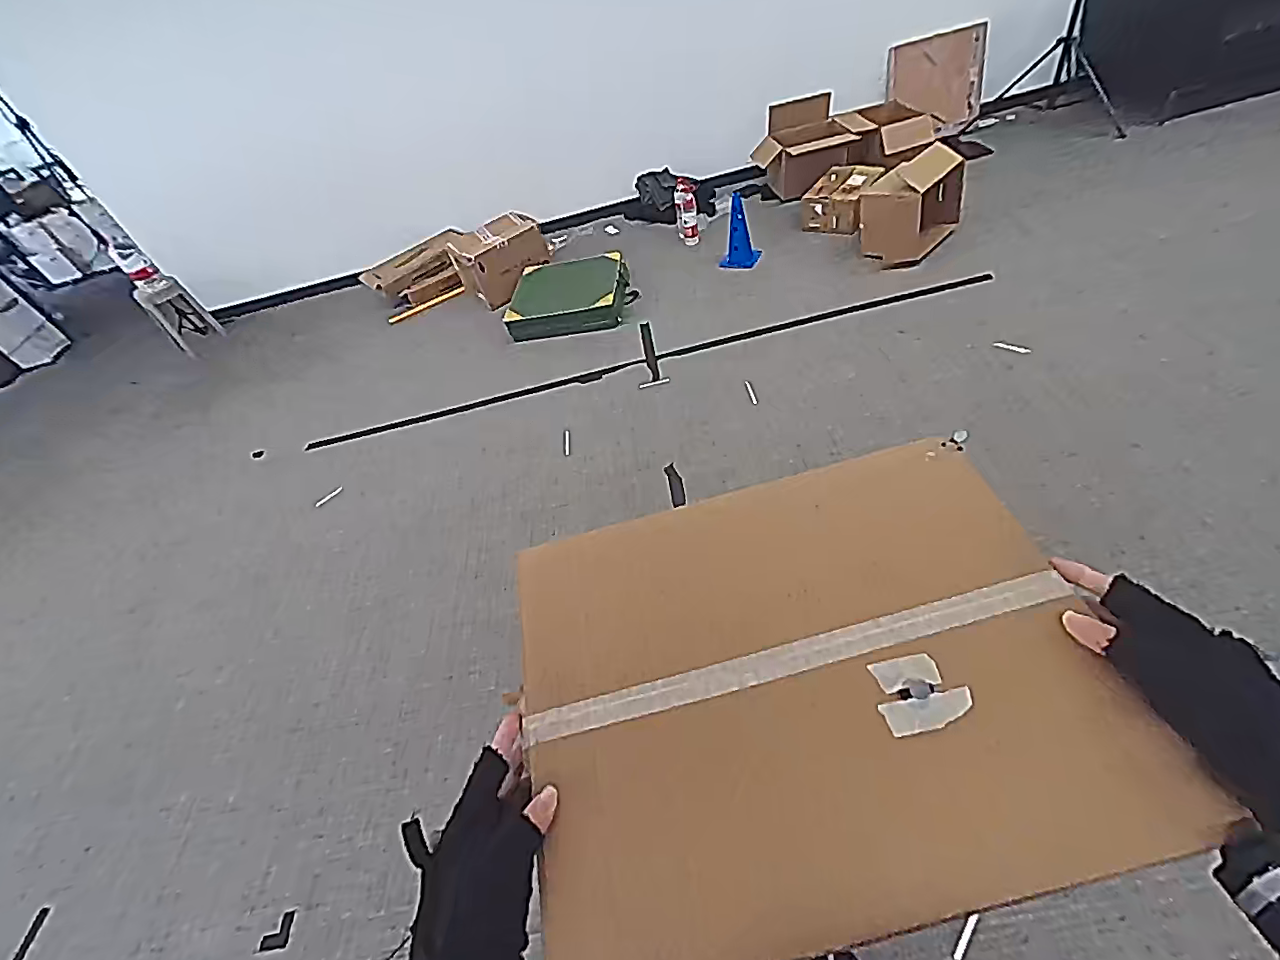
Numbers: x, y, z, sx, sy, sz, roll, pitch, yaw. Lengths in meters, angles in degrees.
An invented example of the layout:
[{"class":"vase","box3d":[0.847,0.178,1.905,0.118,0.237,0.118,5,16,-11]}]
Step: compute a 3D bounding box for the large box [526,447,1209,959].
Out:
[{"class":"large box","box3d":[0.139,0.226,0.524,0.408,0.320,0.320,-16,52,0]}]
